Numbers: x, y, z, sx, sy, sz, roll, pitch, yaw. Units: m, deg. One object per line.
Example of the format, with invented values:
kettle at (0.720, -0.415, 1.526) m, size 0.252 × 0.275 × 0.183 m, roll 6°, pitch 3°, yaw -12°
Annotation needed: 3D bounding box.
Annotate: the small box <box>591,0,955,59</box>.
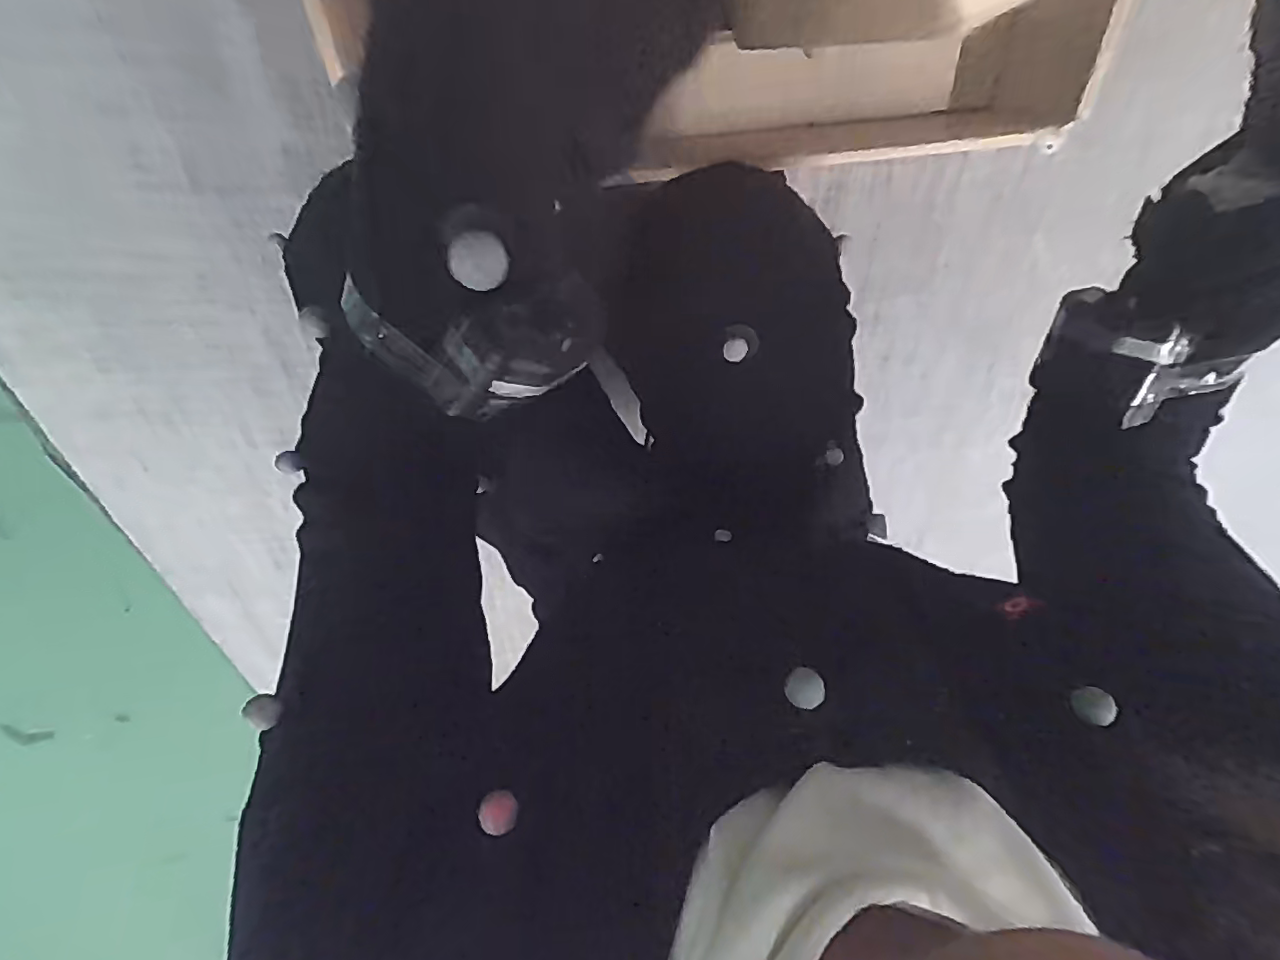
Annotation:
small box at (0.055, -0.329, 0.274) m, size 0.168 × 0.176 × 0.179 m, roll -9°, pitch 126°, yaw -5°
